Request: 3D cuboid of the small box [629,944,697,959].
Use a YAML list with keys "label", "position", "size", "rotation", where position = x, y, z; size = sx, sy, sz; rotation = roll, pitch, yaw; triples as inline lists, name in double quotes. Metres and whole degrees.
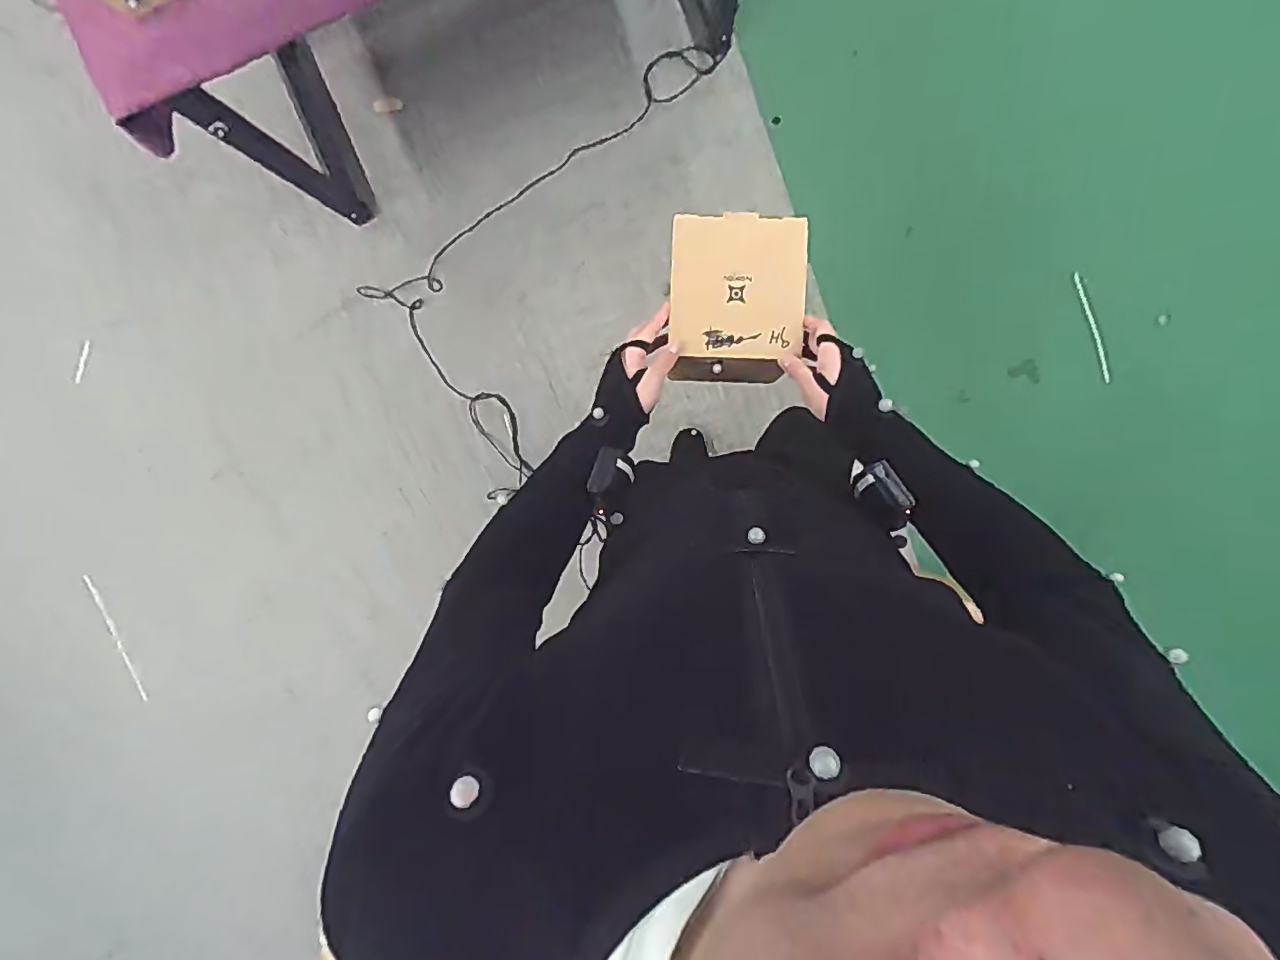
- label: "small box"
  position: [0.064, 1.226, 1.238]
  size: [0.168, 0.176, 0.179]
  rotation: [-12, 94, 5]
